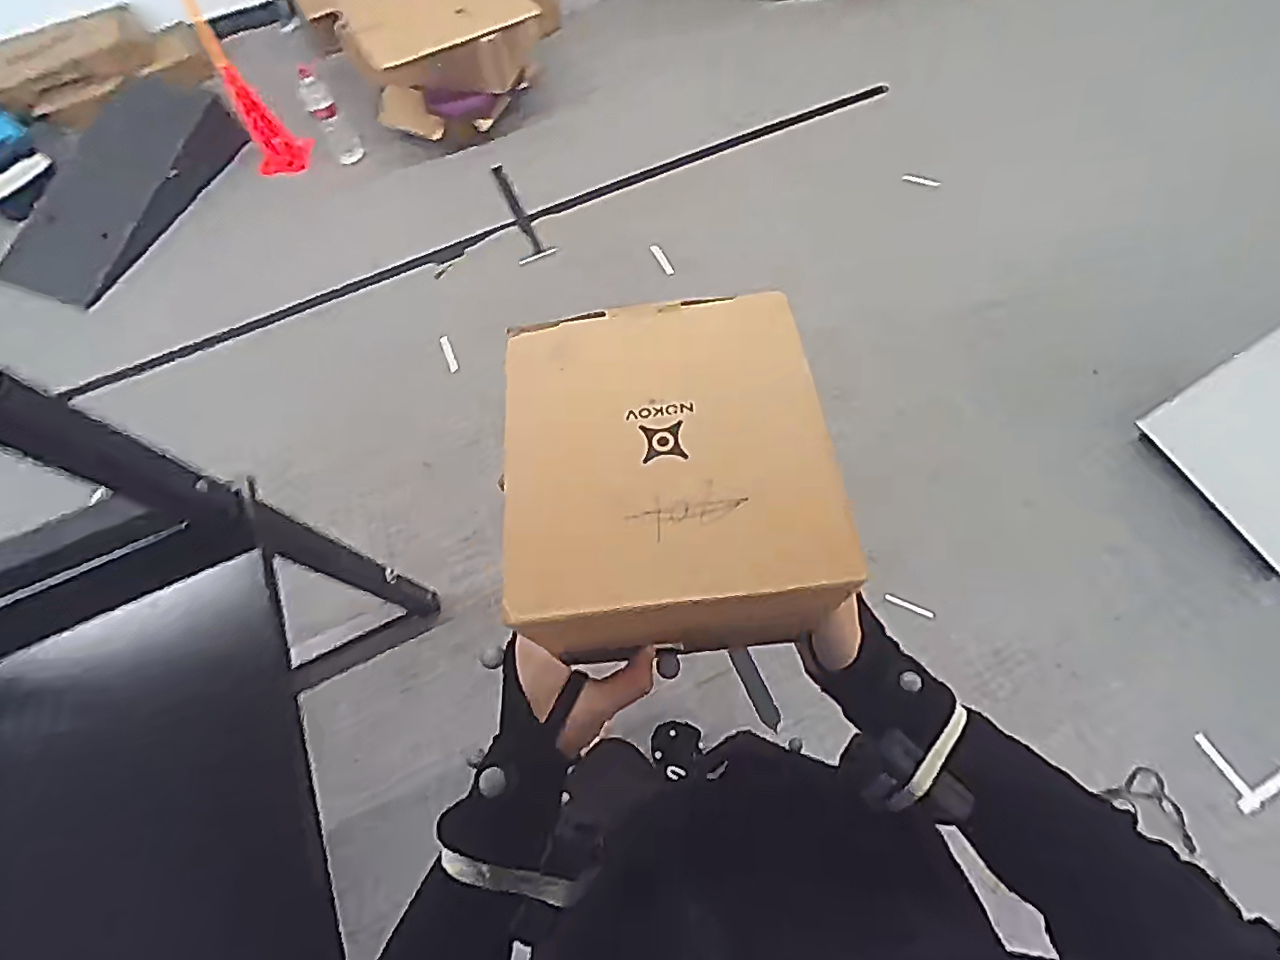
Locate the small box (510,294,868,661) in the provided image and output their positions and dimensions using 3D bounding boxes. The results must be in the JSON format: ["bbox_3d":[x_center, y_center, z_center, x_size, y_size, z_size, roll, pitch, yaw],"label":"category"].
[{"bbox_3d":[0.021,0.011,0.352,0.168,0.176,0.179,-6,65,2],"label":"small box"}]
